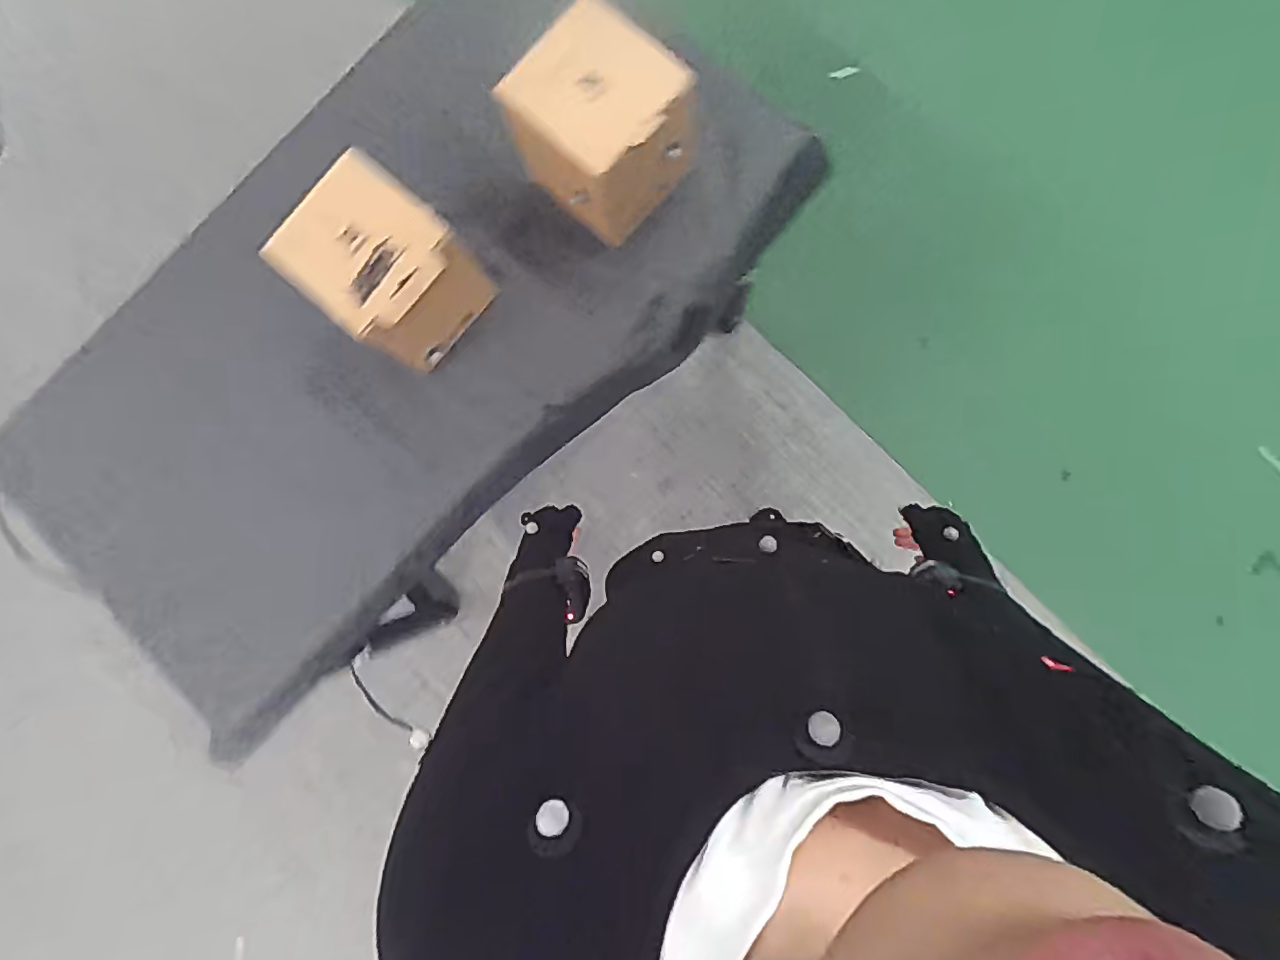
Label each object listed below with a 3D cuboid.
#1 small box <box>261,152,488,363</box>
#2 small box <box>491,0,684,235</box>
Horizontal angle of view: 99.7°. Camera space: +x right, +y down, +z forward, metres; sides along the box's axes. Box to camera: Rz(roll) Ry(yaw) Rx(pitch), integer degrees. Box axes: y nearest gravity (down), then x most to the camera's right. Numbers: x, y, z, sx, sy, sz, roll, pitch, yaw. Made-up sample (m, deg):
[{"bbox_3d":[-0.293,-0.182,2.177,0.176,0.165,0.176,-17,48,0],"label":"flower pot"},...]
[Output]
[{"bbox_3d":[-0.337,-0.279,0.725,0.179,0.176,0.168,40,90,7],"label":"small box"},{"bbox_3d":[-0.056,-0.460,0.716,0.179,0.176,0.168,42,89,8],"label":"small box"}]
